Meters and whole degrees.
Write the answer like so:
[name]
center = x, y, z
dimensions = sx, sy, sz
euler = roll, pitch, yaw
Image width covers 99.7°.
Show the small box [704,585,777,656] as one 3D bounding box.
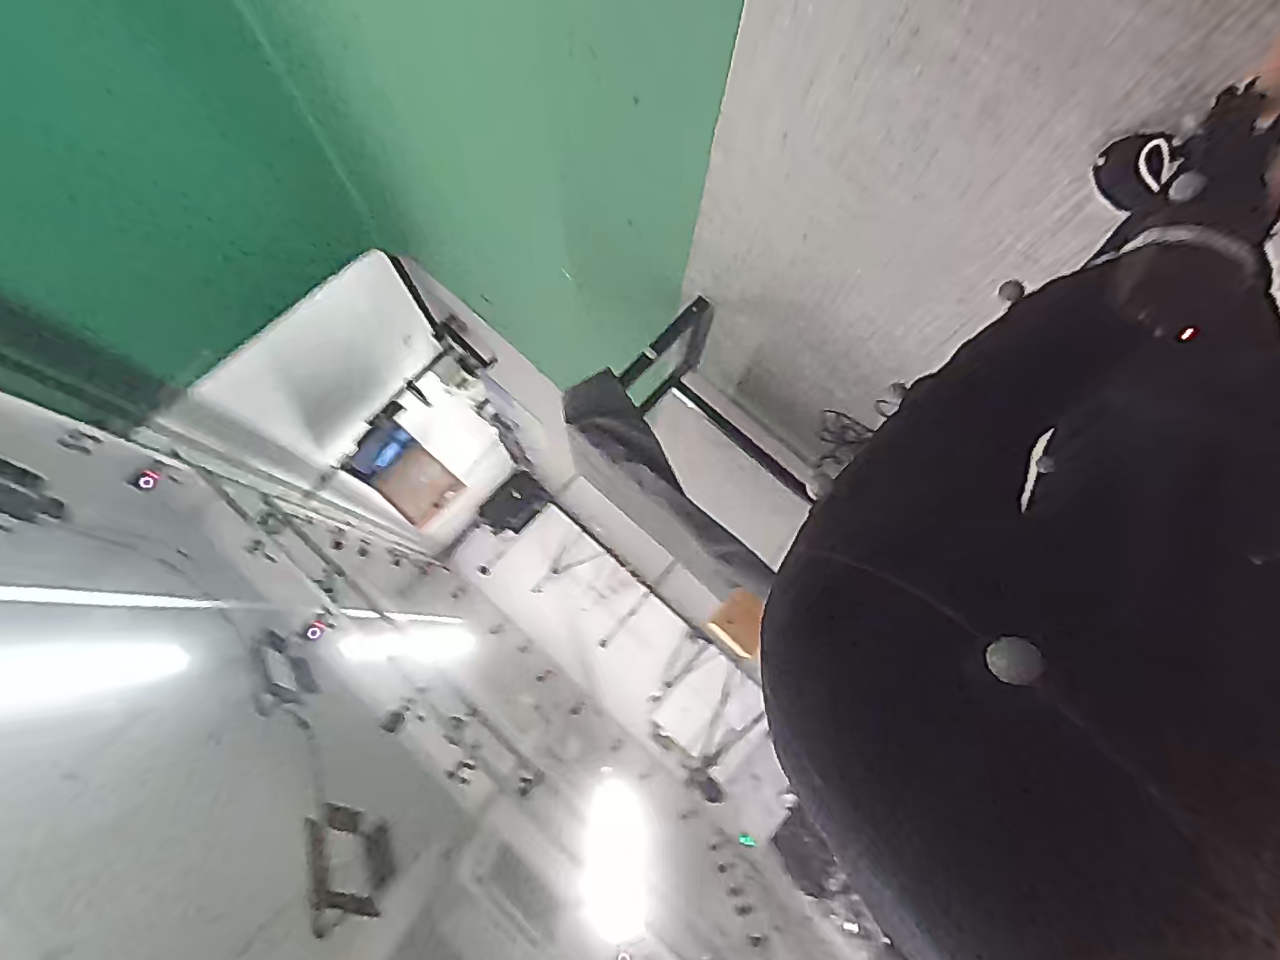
[small box]
center = 0.359, 0.498, 1.924
dimensions = 0.179, 0.176, 0.168
euler = 42, 167, 8
